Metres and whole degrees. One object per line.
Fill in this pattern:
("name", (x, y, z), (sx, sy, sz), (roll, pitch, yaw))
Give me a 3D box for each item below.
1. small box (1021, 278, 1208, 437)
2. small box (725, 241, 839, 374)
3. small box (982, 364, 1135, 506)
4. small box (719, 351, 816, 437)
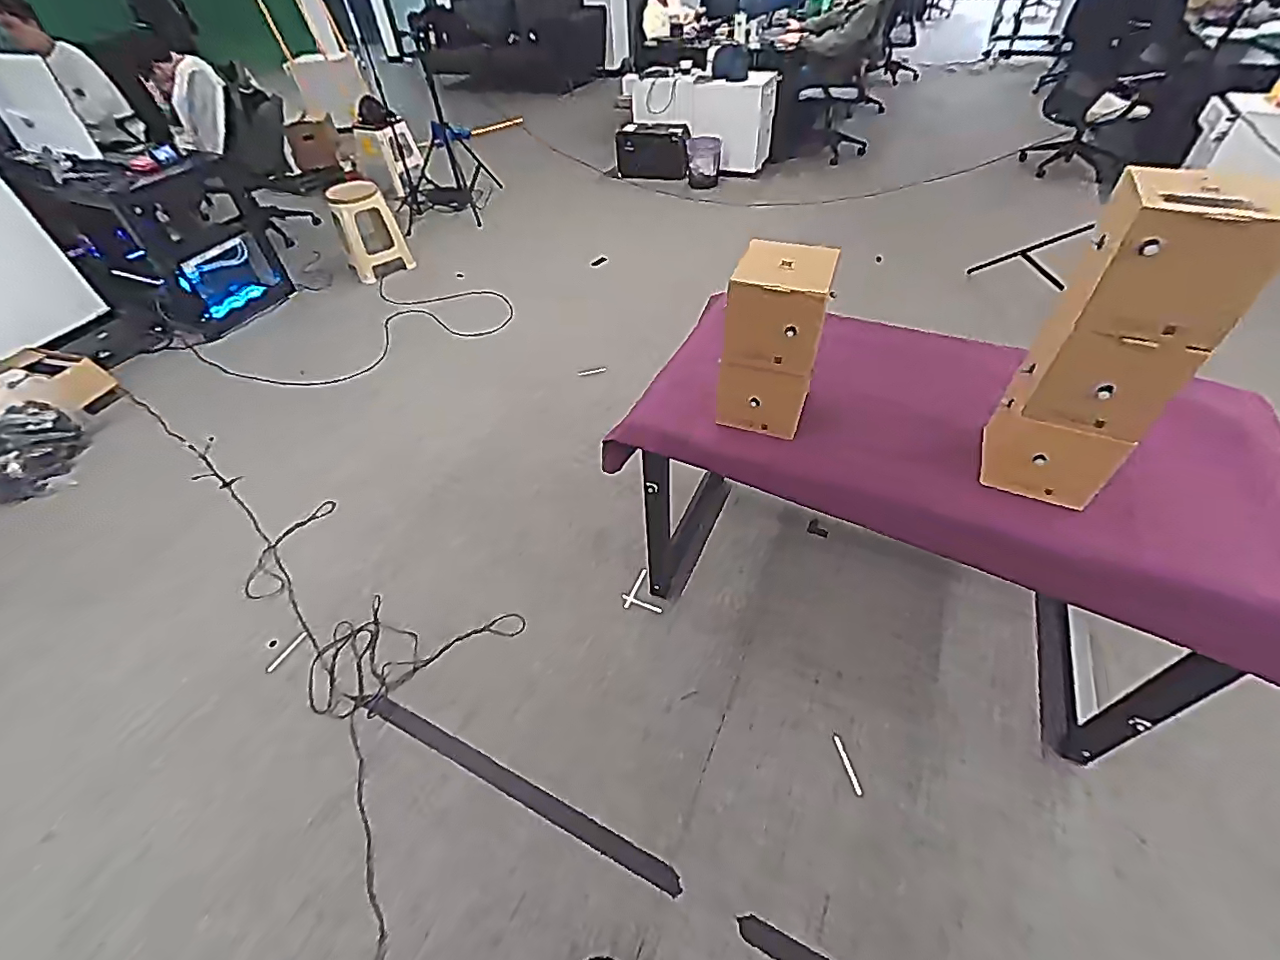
("small box", (0.740, -0.195, 0.866), (0.168, 0.176, 0.179), (18, 51, 20))
("small box", (0.260, -0.321, 1.011), (0.168, 0.176, 0.179), (14, 48, 15))
("small box", (0.746, -0.080, 0.982), (0.168, 0.176, 0.179), (18, 50, 20))
("small box", (0.268, -0.215, 1.134), (0.168, 0.176, 0.179), (15, 49, 16))
